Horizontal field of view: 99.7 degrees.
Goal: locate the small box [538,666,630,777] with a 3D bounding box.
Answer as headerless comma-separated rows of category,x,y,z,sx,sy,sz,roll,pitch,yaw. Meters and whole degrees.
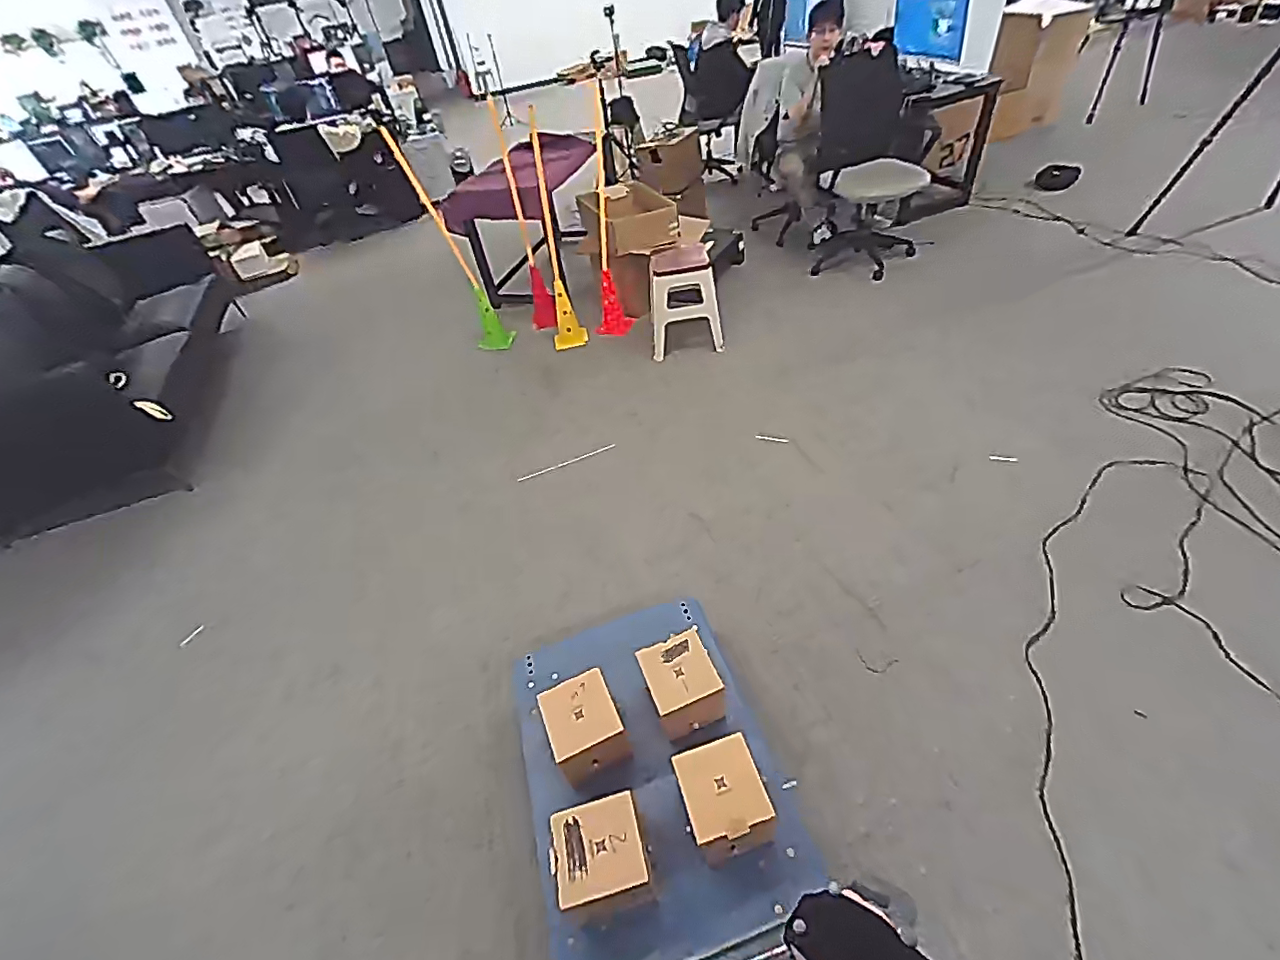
small box,-0.134,0.600,1.328,0.168,0.176,0.179,-21,44,-12

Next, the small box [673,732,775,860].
small box,0.179,0.689,1.179,0.168,0.176,0.179,-16,44,-7

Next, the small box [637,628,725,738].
small box,0.104,0.516,1.370,0.168,0.176,0.179,-20,45,-9
